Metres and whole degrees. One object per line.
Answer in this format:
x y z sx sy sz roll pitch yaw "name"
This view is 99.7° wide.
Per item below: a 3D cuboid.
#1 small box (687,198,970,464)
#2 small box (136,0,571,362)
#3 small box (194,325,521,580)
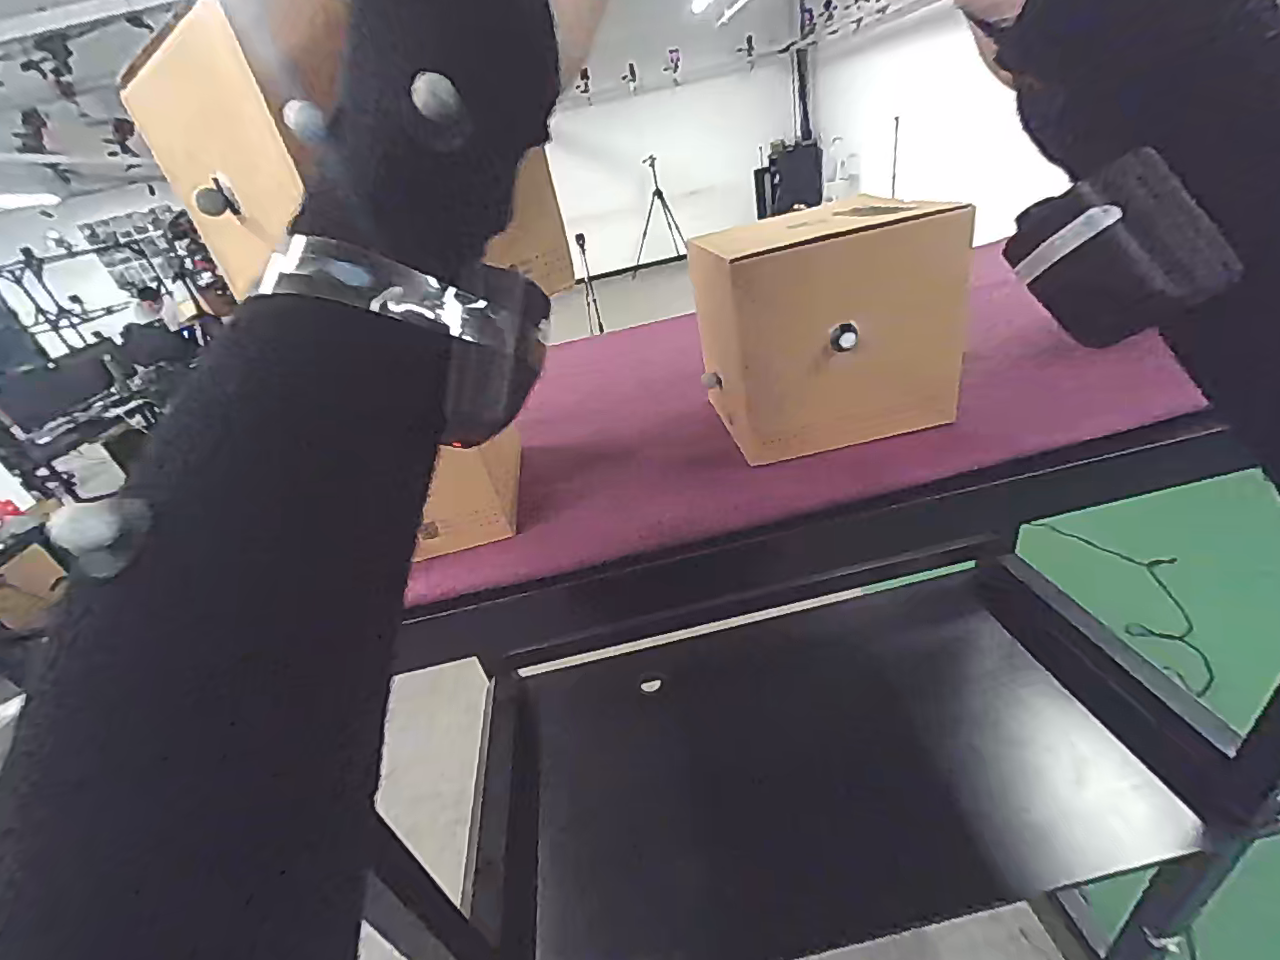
0.150 -0.135 0.477 0.179 0.176 0.168 -13 29 1 "small box"
-0.176 -0.187 0.365 0.179 0.176 0.168 12 38 37 "small box"
-0.207 -0.044 0.462 0.168 0.176 0.179 -14 30 -2 "small box"
